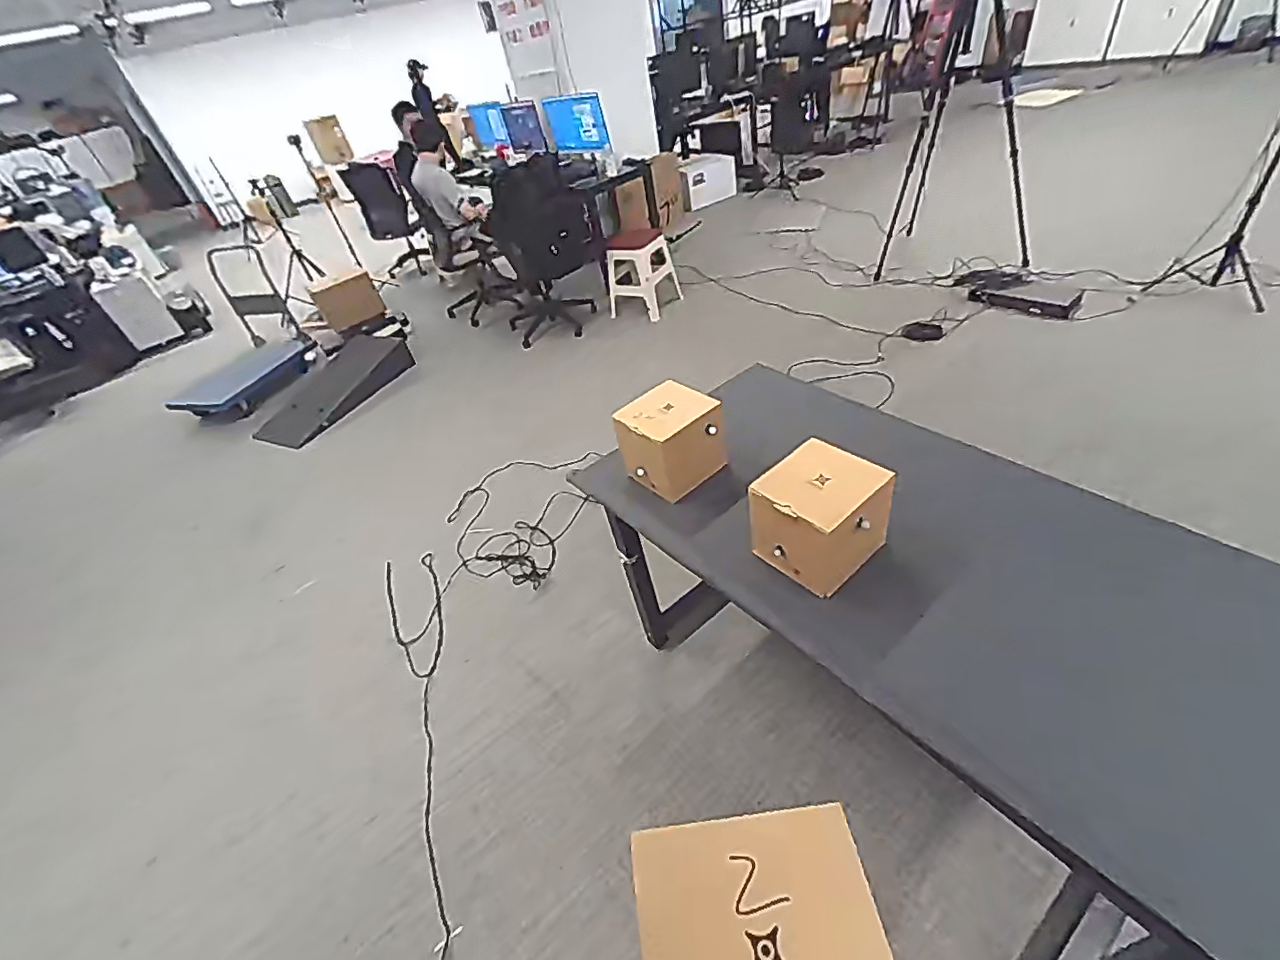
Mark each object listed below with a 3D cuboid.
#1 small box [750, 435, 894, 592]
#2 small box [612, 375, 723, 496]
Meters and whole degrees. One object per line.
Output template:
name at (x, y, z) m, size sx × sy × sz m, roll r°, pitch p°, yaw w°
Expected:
small box at (0.309, 0.057, 0.946) m, size 0.179 × 0.176 × 0.168 m, roll -34°, pitch 45°, yaw -23°
small box at (0.066, -0.099, 1.184) m, size 0.179 × 0.176 × 0.168 m, roll -35°, pitch 45°, yaw -24°
